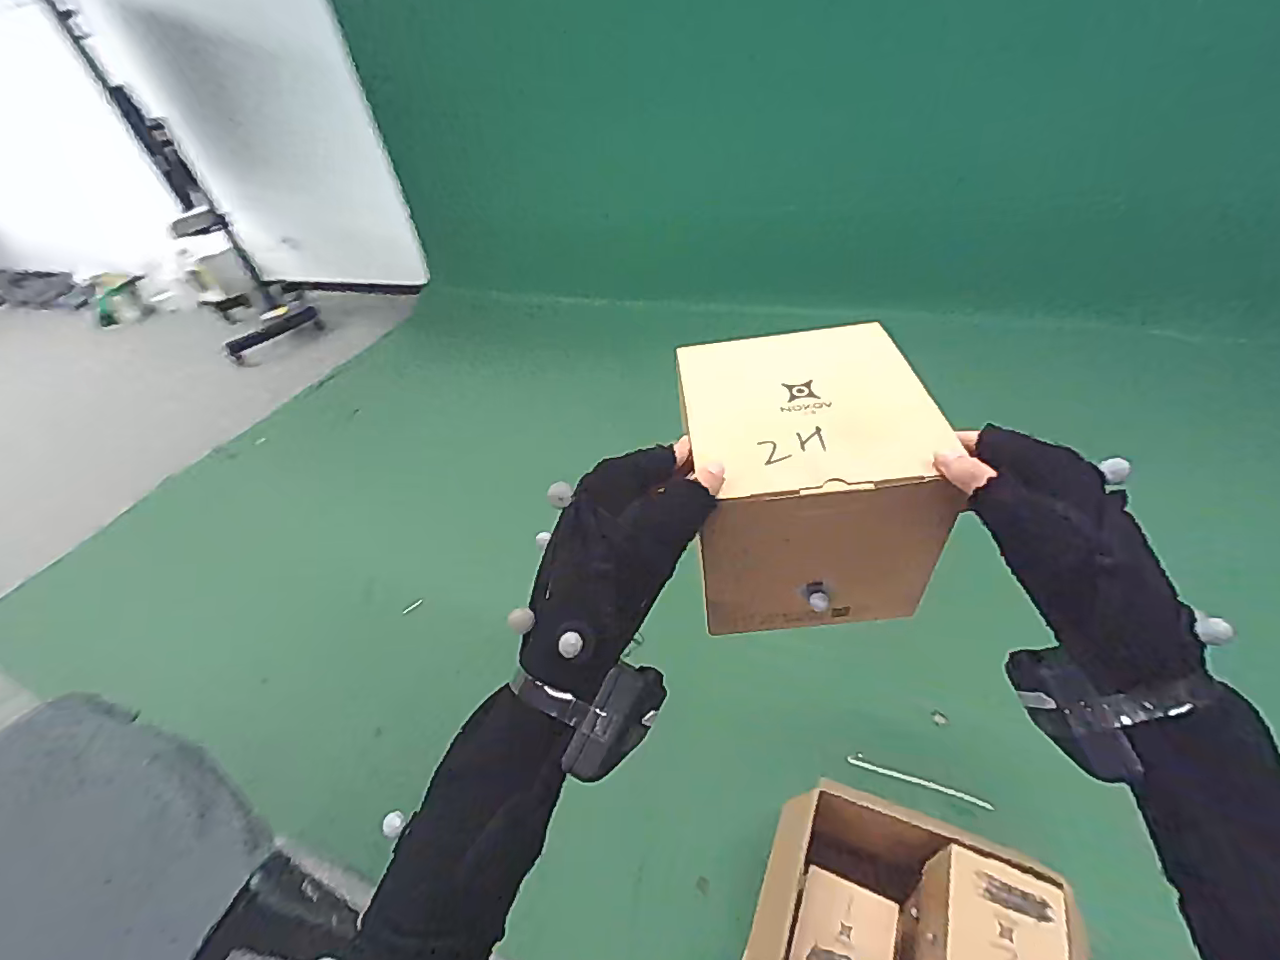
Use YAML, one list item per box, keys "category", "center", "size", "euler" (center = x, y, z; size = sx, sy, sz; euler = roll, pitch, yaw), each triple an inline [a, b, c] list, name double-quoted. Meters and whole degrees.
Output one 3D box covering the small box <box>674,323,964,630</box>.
- category: "small box"
  center: [0.120, -0.002, 0.442]
  size: [0.168, 0.176, 0.179]
  euler: [-7, 45, 4]
